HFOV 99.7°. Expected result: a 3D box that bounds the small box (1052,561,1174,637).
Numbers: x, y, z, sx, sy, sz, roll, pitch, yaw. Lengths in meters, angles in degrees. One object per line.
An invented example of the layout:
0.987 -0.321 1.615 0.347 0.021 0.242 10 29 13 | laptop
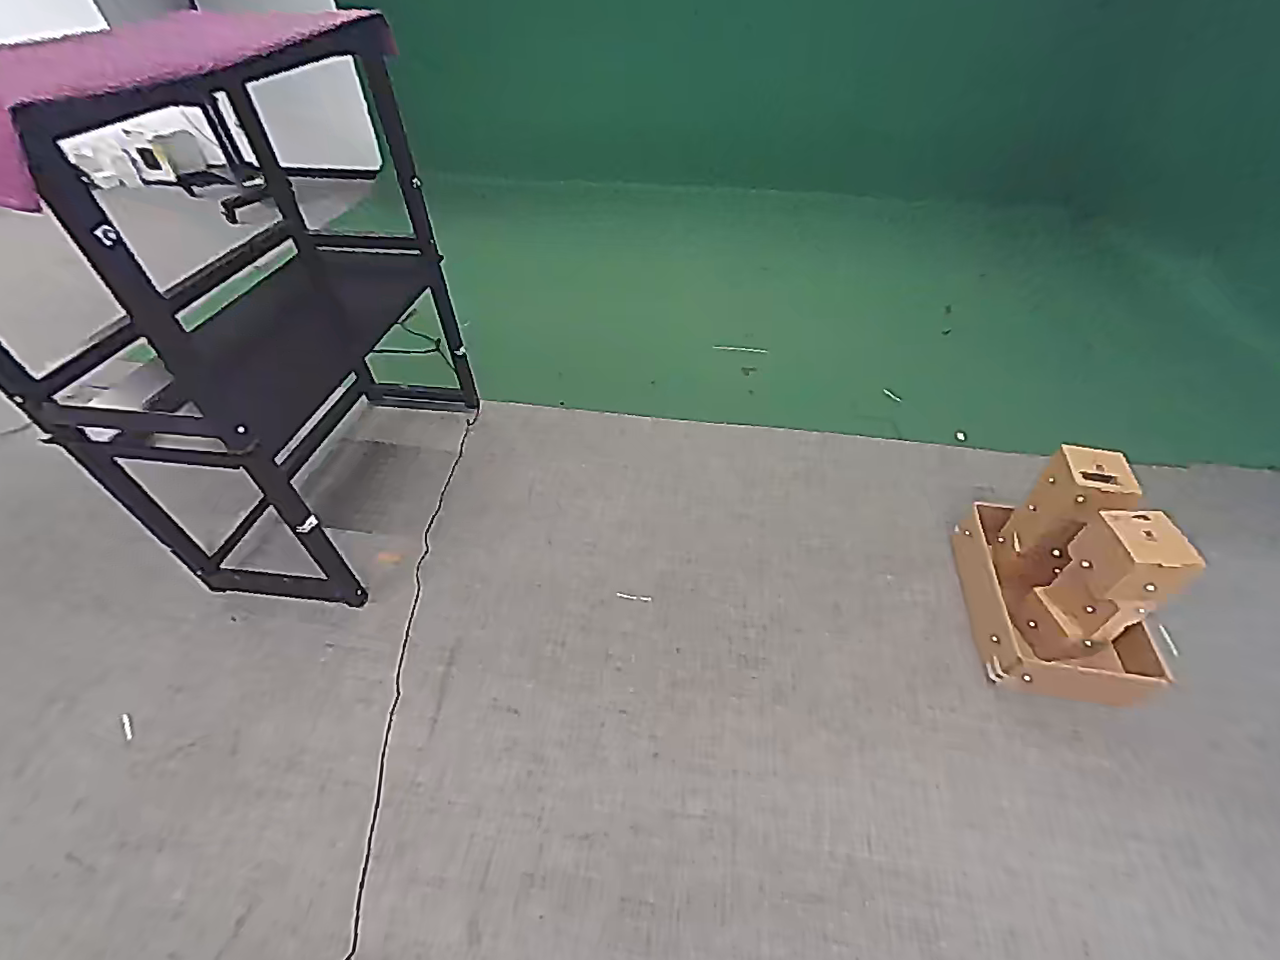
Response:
1.328 0.324 1.540 0.179 0.176 0.168 -12 46 -11 | small box

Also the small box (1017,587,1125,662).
1.299 0.442 1.654 0.179 0.176 0.168 -4 45 -3 | small box

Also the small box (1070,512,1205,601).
1.299 0.205 1.429 0.168 0.176 0.179 1 46 3 | small box
